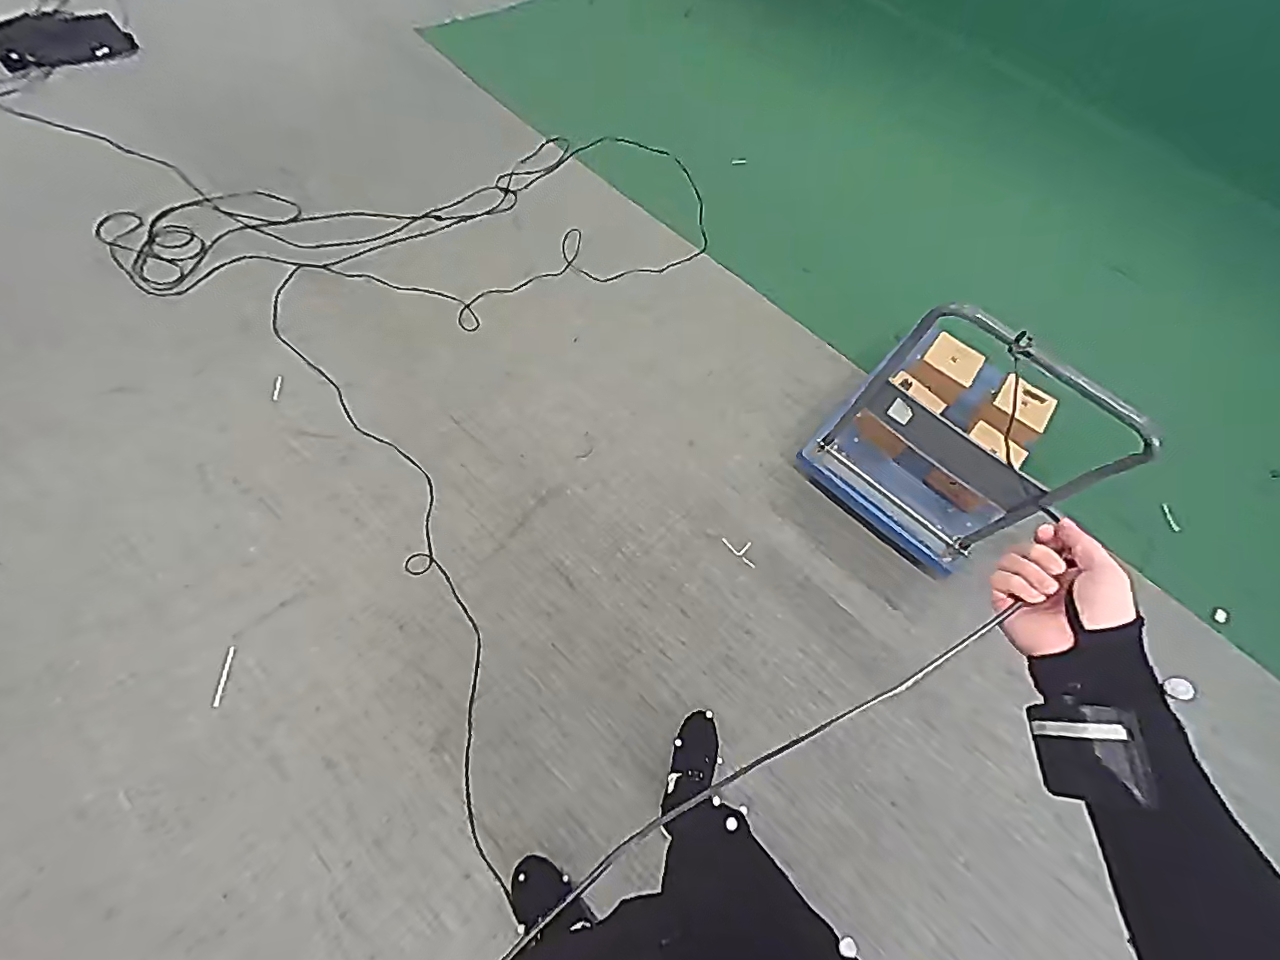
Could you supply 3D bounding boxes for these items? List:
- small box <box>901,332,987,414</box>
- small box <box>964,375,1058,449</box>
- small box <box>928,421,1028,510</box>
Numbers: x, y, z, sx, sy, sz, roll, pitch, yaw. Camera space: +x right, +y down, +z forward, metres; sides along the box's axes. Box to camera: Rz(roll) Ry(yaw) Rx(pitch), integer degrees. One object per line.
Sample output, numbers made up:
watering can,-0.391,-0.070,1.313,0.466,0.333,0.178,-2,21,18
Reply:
small box,1.017,-0.355,1.826,0.168,0.176,0.179,39,63,11
small box,1.211,-0.203,1.775,0.168,0.176,0.179,38,64,13
small box,1.028,-0.041,1.660,0.168,0.176,0.179,43,65,14
